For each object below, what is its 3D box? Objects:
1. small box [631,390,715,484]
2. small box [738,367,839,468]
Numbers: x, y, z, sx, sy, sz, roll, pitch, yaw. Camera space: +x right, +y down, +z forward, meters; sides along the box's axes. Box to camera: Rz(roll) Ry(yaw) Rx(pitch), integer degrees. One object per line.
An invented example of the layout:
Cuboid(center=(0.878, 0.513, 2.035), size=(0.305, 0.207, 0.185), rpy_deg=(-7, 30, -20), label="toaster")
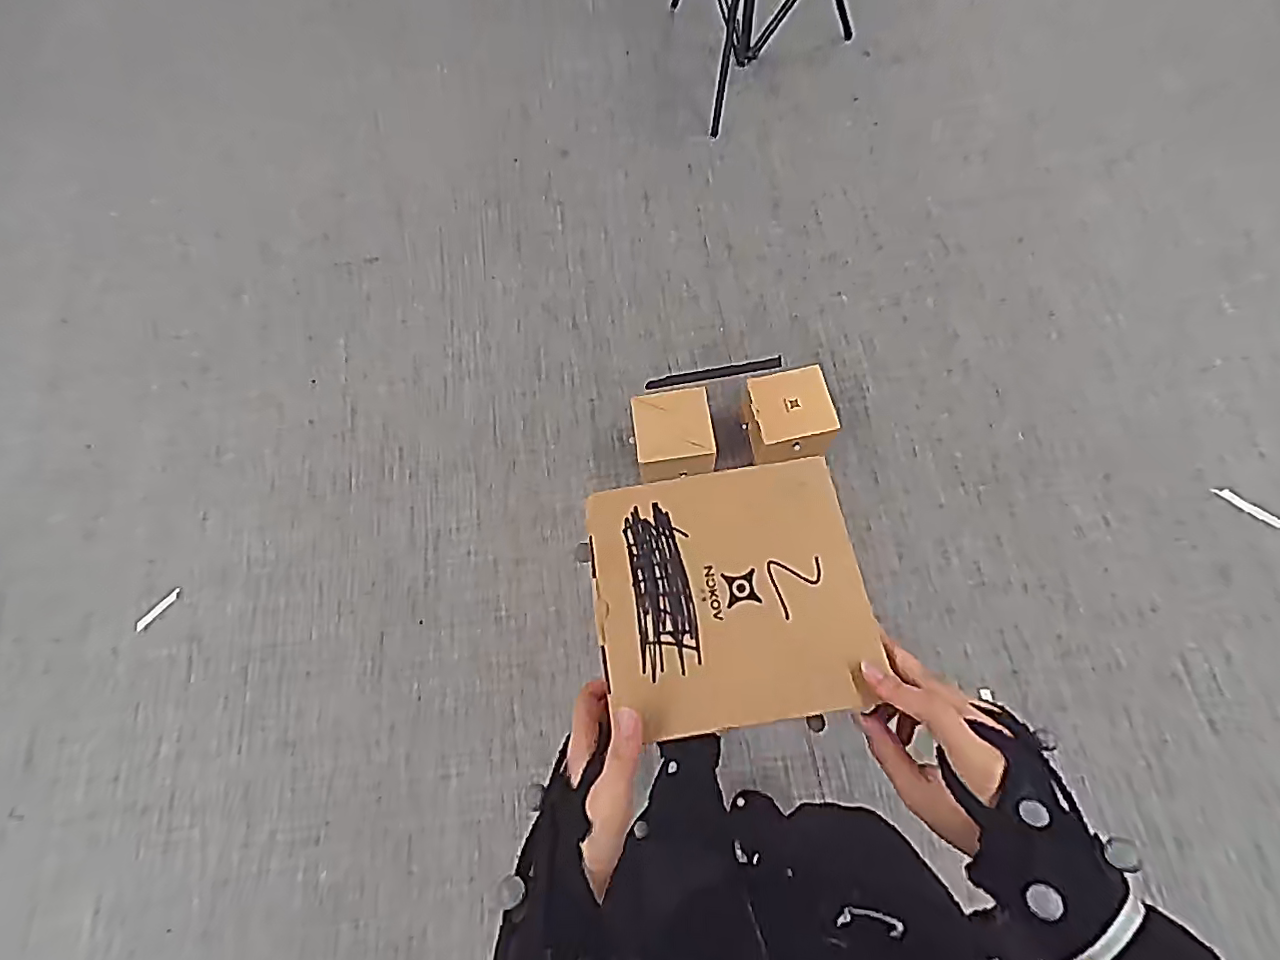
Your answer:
Cuboid(center=(0.080, -0.102, 1.297), size=(0.179, 0.176, 0.168), rpy_deg=(-8, 72, 2), label="small box")
Cuboid(center=(0.346, -0.144, 1.293), size=(0.179, 0.176, 0.168), rpy_deg=(-13, 72, 0), label="small box")
